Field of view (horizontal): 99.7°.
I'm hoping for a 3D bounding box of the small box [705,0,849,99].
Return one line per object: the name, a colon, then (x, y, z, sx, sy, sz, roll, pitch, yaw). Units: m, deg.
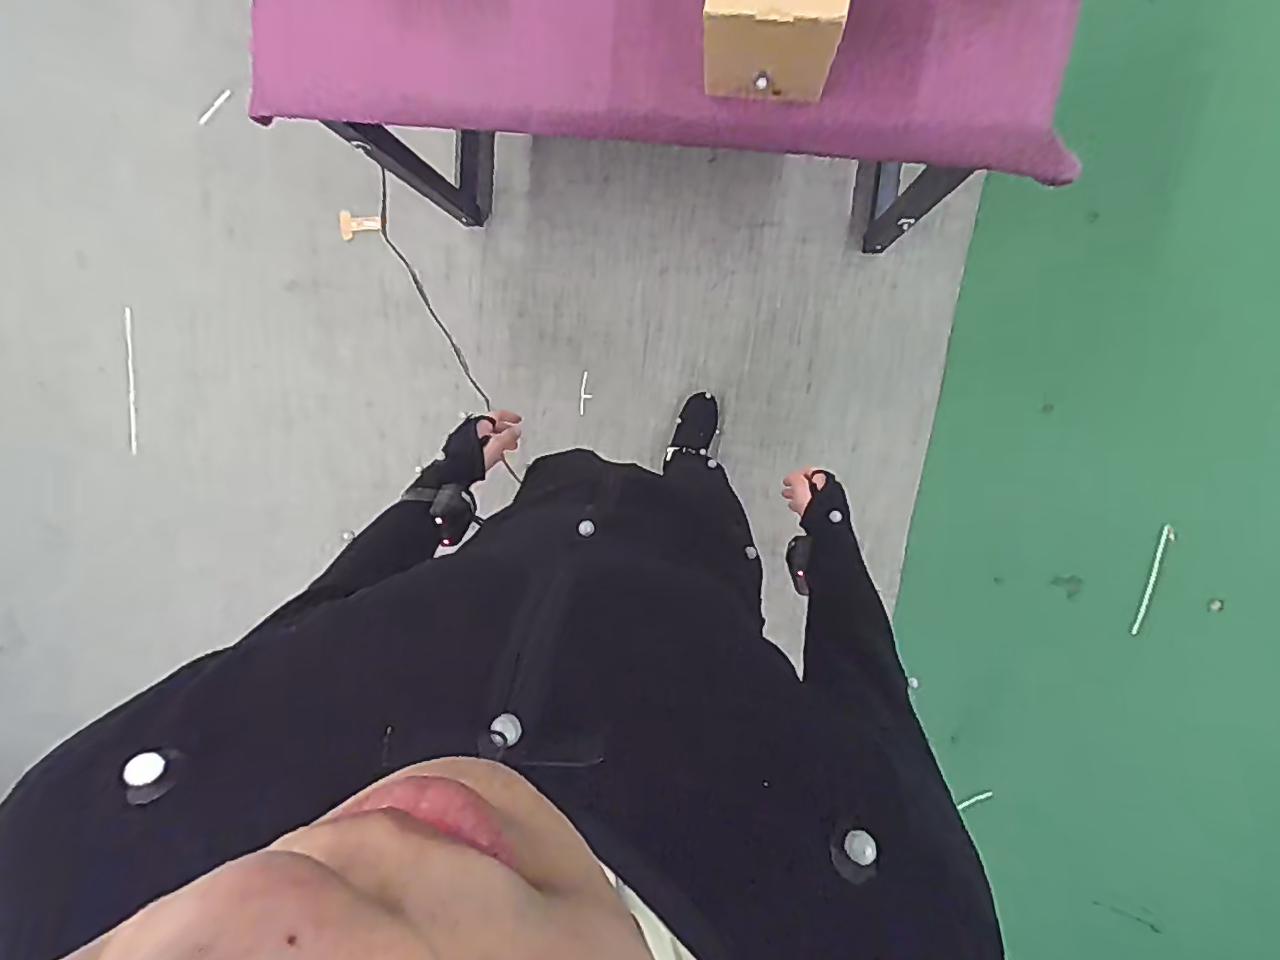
small box: (0.175, -0.633, 0.689, 0.168, 0.176, 0.179, 9, 98, 6)
